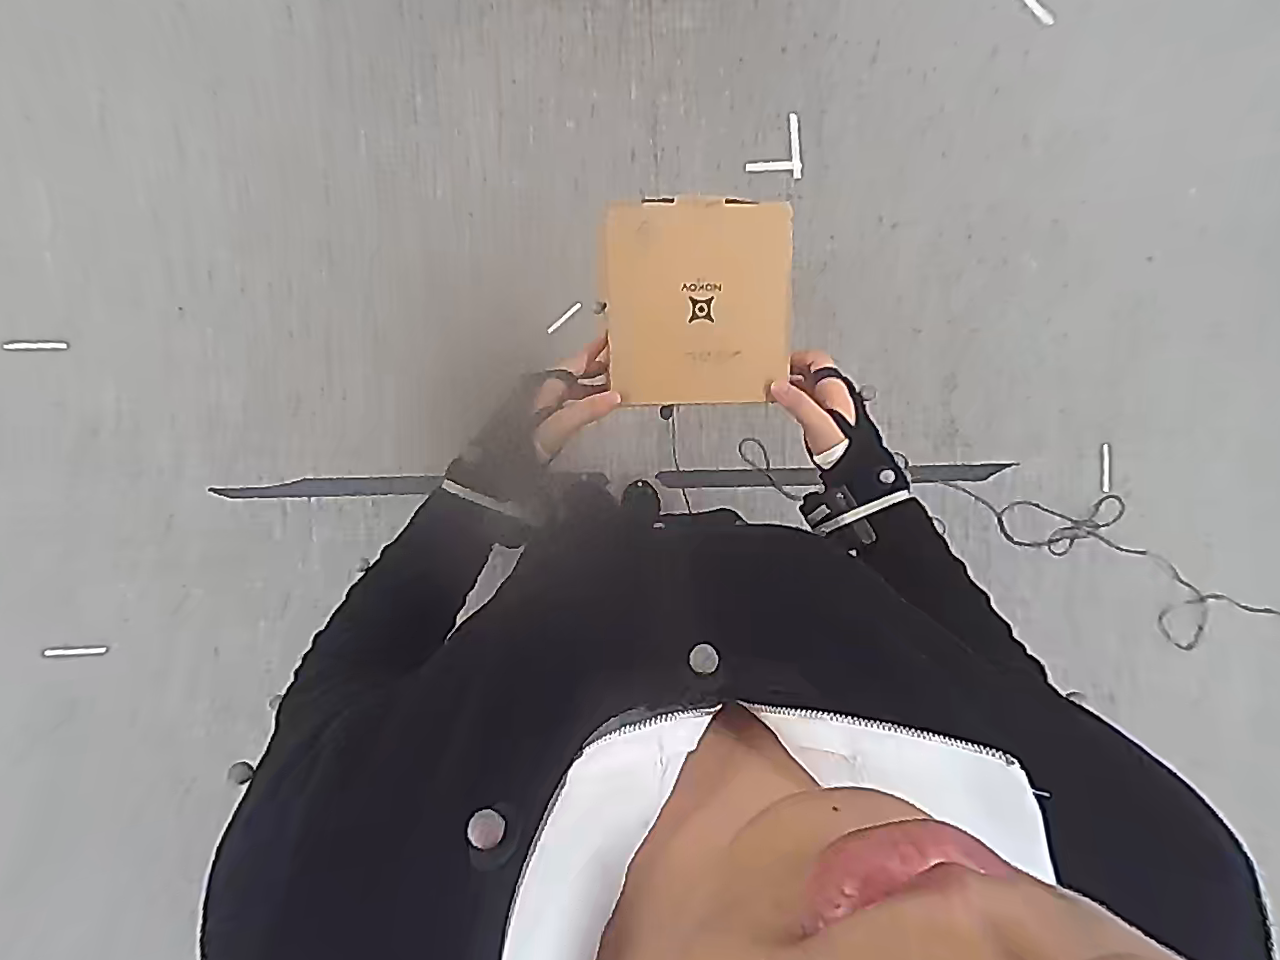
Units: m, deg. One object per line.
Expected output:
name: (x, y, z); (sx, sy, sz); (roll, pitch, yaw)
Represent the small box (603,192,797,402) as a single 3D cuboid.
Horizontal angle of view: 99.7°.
small box: (0.049, -0.171, 0.555); (0.168, 0.176, 0.179); (-2, 99, -5)
